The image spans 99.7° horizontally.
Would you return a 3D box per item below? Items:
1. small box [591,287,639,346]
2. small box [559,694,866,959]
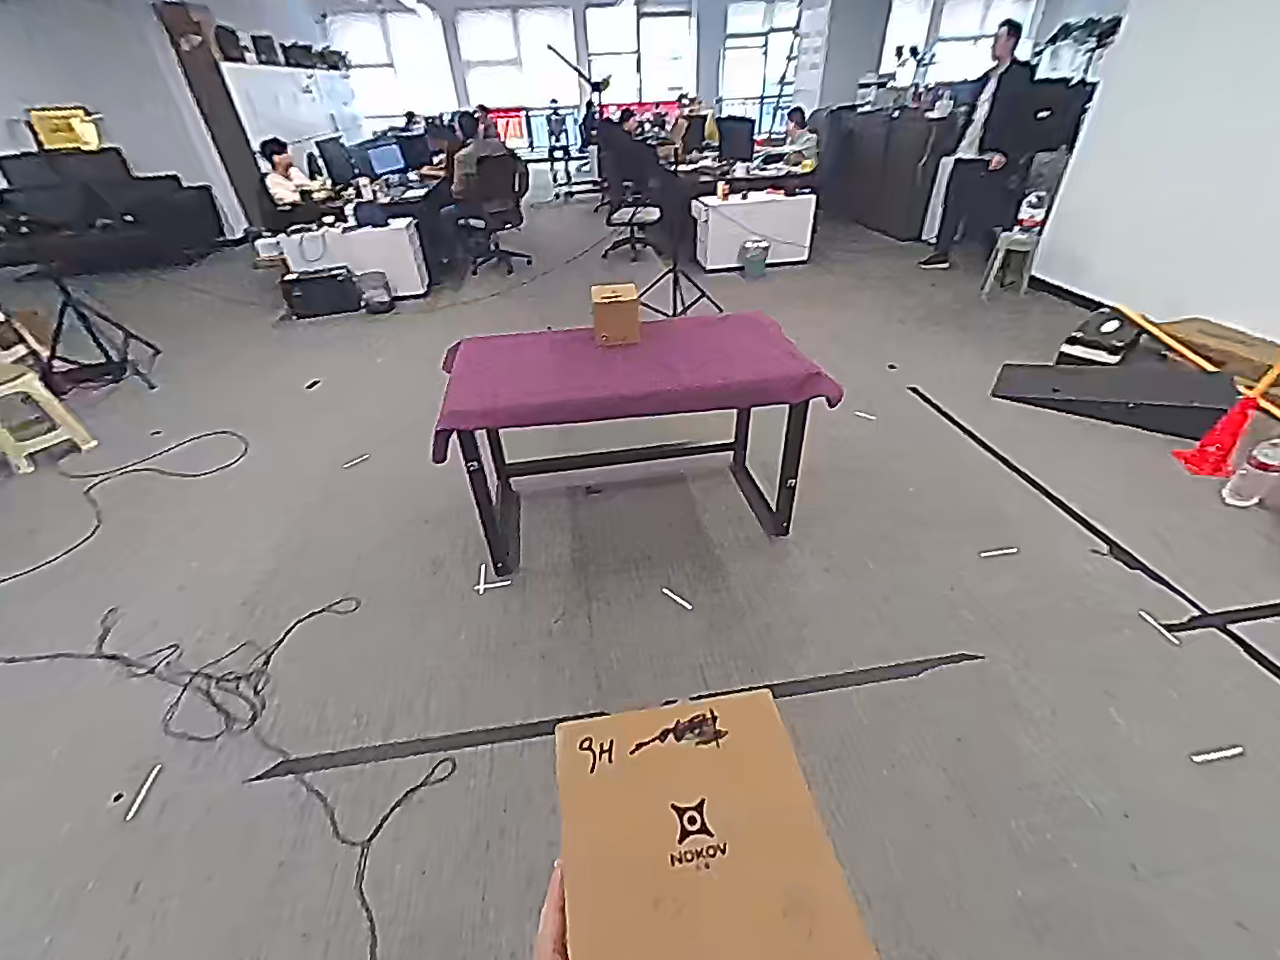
[{"bbox_3d":[-0.095,-0.614,2.040,0.168,0.176,0.179,-5,37,-3],"label":"small box"},{"bbox_3d":[0.034,0.288,0.392,0.168,0.176,0.179,-6,40,-7],"label":"small box"}]
